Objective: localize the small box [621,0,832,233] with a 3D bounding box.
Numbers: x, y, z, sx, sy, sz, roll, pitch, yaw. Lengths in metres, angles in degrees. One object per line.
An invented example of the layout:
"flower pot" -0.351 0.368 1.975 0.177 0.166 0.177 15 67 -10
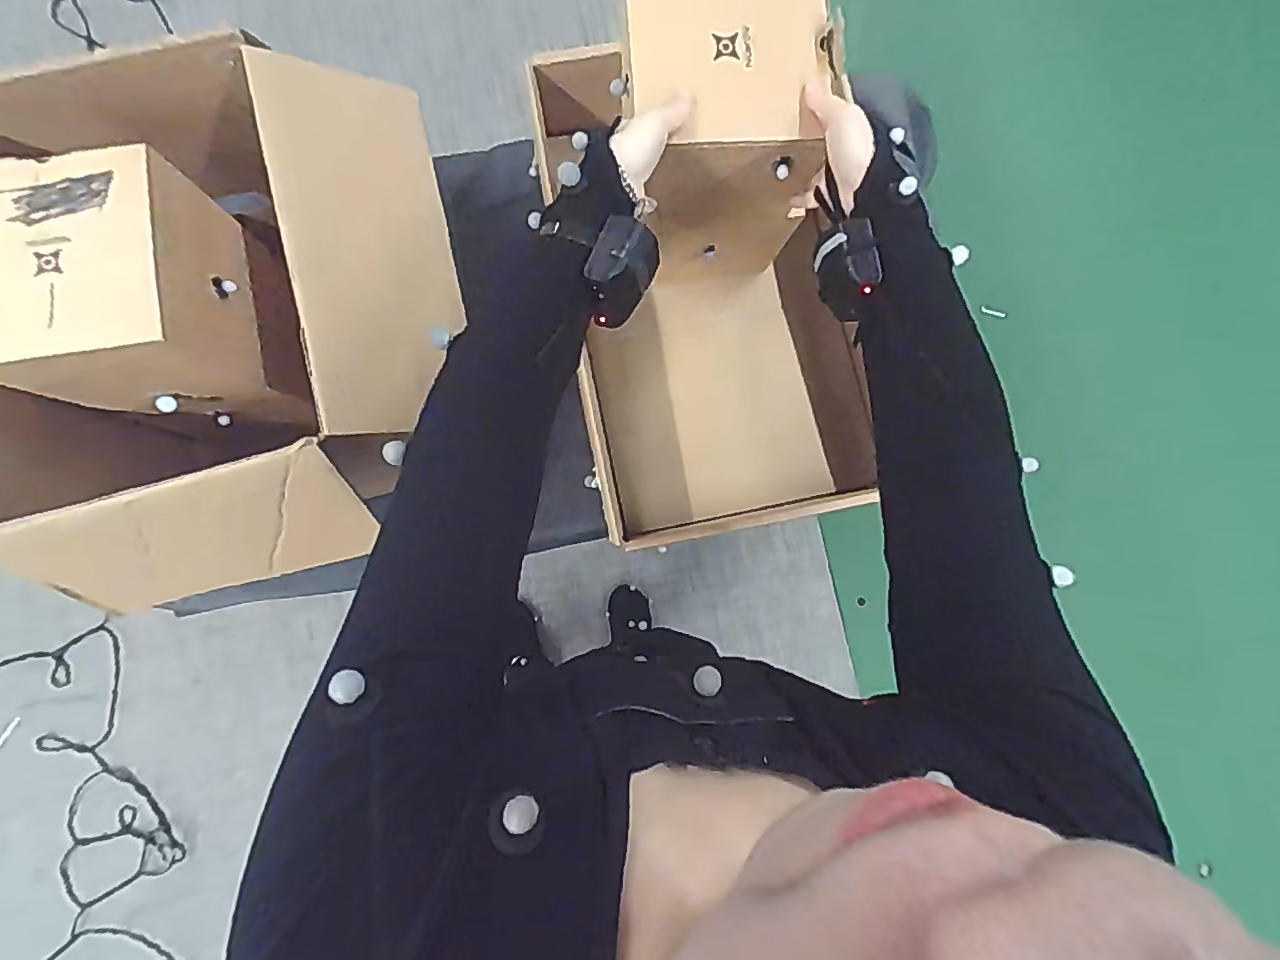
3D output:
"small box" 0.072 -0.367 0.545 0.179 0.176 0.168 -4 91 -4

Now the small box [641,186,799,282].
"small box" 0.087 -0.375 0.709 0.179 0.176 0.168 -8 91 -3

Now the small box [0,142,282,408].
"small box" -0.481 -0.181 0.519 0.168 0.176 0.179 -9 86 -5
